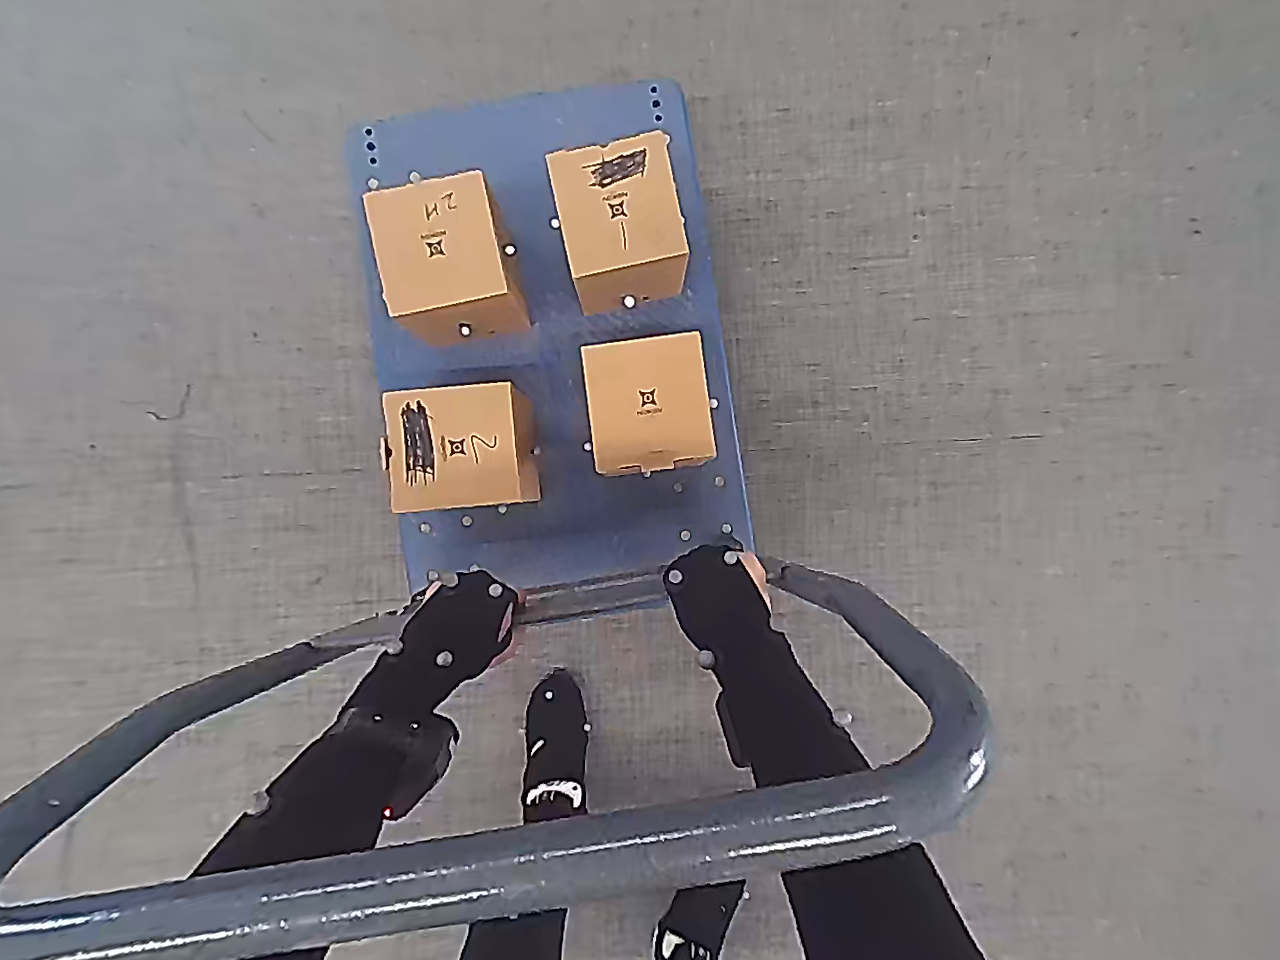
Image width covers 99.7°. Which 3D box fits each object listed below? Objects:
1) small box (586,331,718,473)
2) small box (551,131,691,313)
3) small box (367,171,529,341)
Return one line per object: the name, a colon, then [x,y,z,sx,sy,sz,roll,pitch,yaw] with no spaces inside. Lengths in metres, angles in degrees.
small box: [0.014,-0.106,0.810,0.168,0.176,0.179,-7,90,-1]
small box: [-0.027,-0.374,0.810,0.168,0.176,0.179,-12,91,0]
small box: [-0.273,-0.318,0.809,0.168,0.176,0.179,-12,89,-1]
